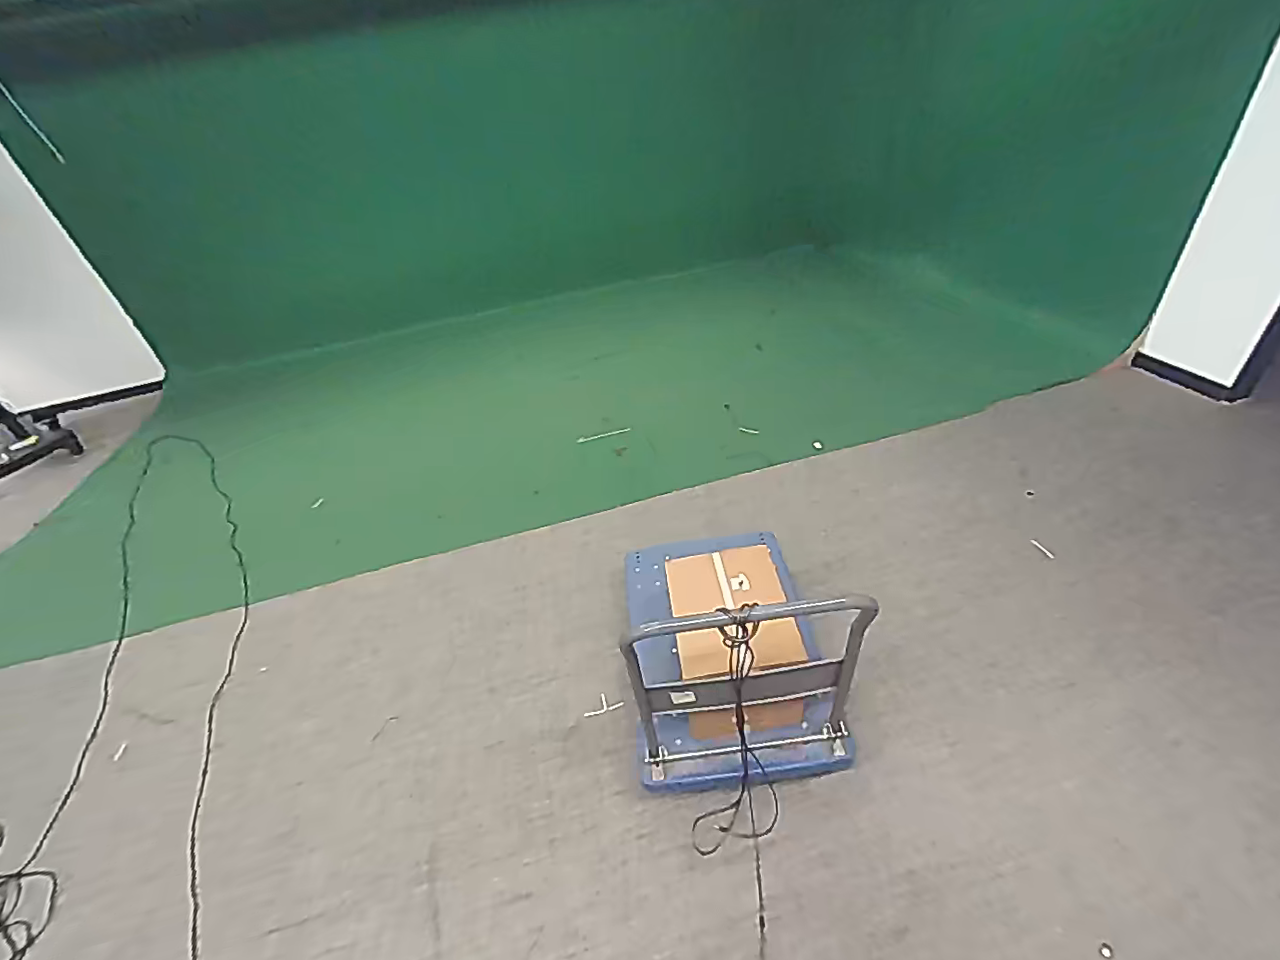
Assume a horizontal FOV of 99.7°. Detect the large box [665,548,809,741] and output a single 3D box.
[{"bbox_3d":[0.265,0.463,1.550,0.320,0.320,0.408,-9,37,1],"label":"large box"}]
